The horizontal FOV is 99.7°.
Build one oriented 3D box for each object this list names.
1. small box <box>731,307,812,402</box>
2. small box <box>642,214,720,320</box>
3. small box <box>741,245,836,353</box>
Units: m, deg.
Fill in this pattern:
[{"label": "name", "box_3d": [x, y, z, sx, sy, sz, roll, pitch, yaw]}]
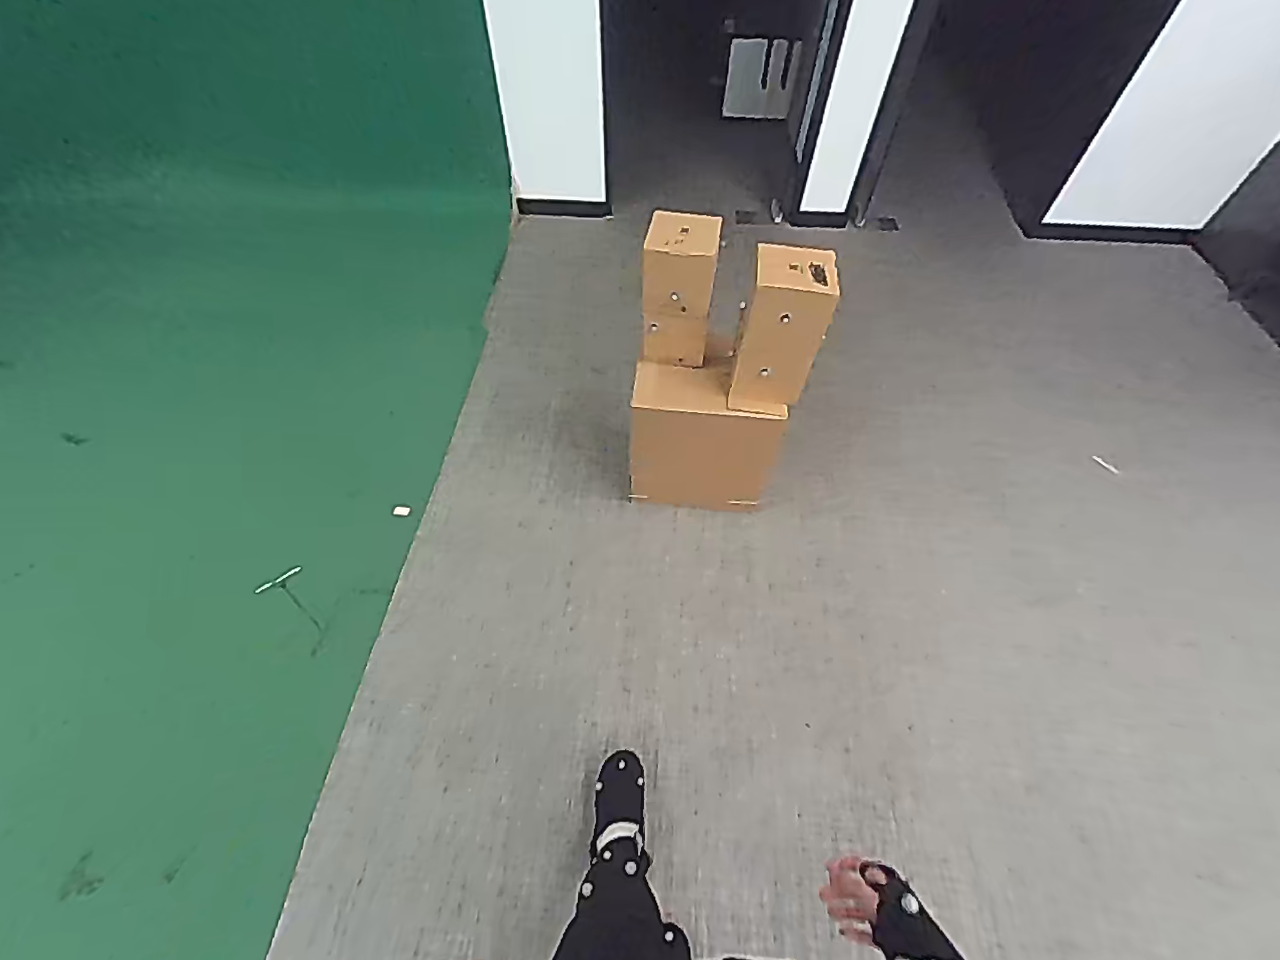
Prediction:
[{"label": "small box", "box_3d": [0.330, -0.316, 1.379, 0.179, 0.176, 0.168, 6, 56, 4]}, {"label": "small box", "box_3d": [0.098, -0.523, 1.327, 0.168, 0.176, 0.179, 8, 55, 6]}, {"label": "small box", "box_3d": [0.337, -0.412, 1.246, 0.179, 0.176, 0.168, 7, 55, 4]}]
